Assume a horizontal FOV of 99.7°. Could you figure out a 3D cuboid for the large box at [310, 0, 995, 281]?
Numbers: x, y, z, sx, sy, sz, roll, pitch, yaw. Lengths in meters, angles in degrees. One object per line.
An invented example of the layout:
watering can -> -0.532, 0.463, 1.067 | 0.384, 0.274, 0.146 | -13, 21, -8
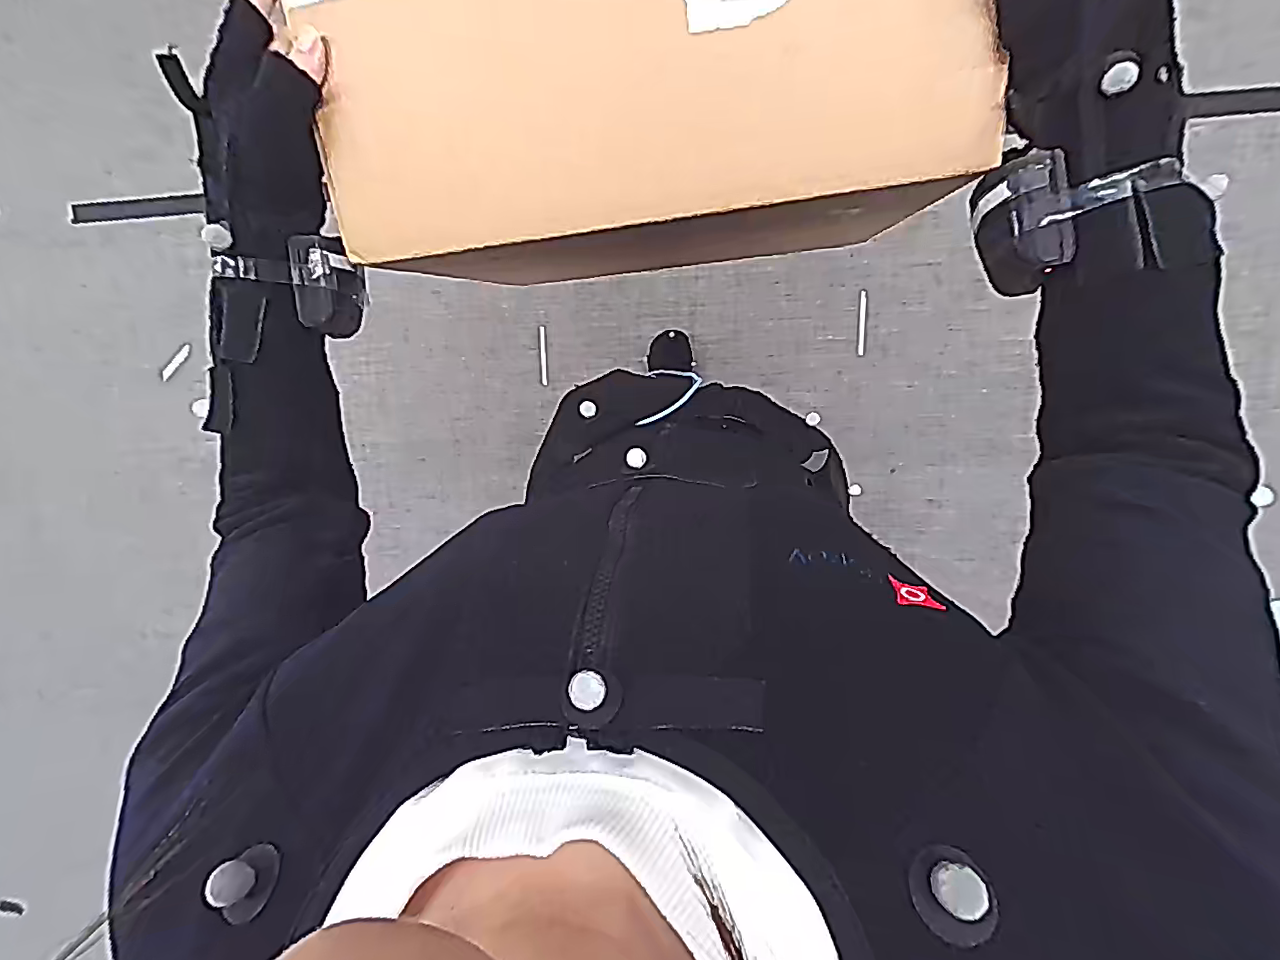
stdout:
large box -> 0.008, -0.362, 0.444 | 0.408, 0.320, 0.320 | -4, 107, 10
